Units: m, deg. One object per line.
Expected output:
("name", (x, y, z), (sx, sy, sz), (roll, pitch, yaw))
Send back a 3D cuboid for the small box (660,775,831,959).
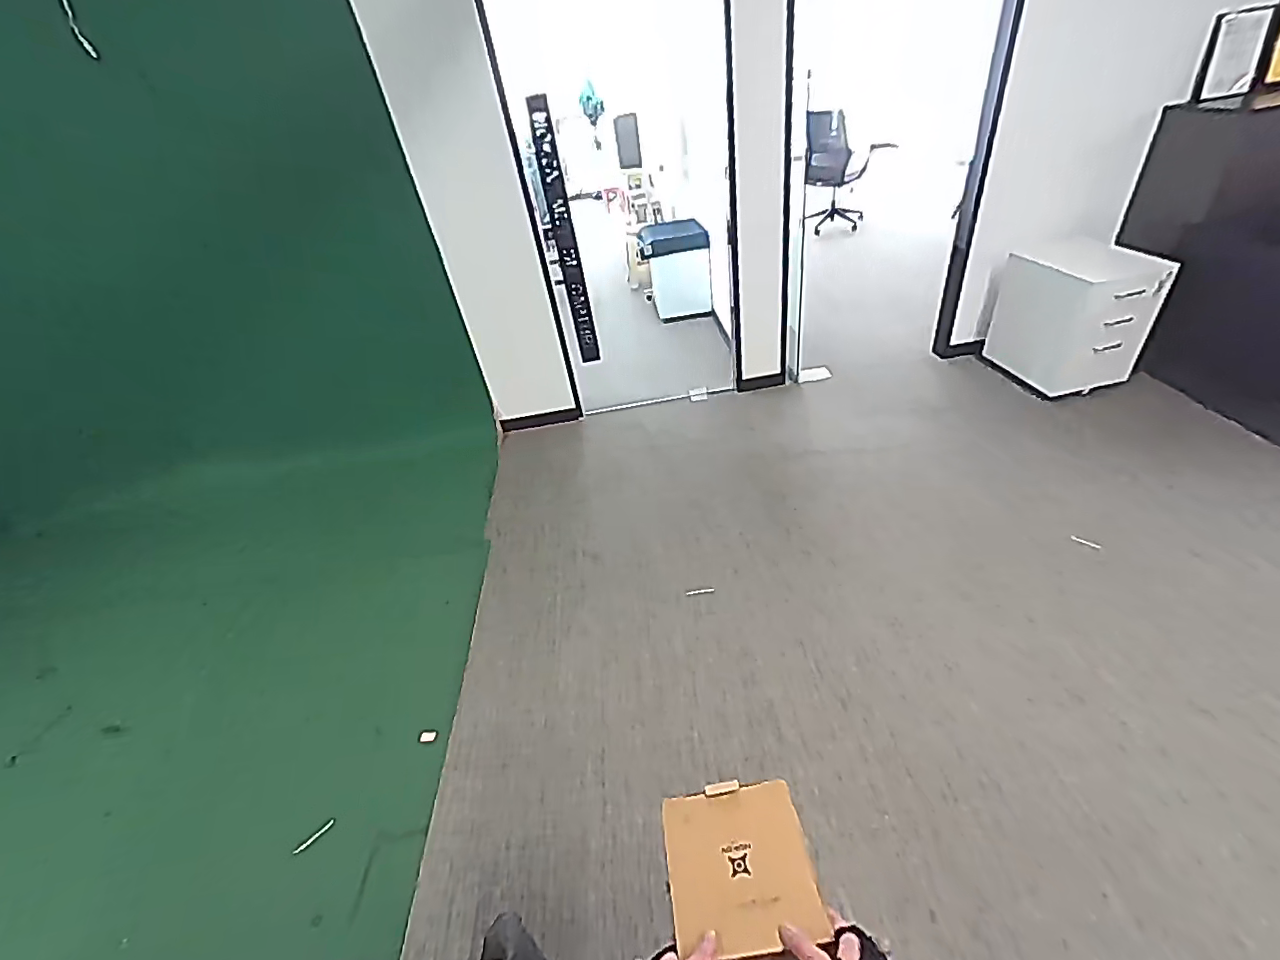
("small box", (0.120, 0.498, 0.654), (0.168, 0.176, 0.179), (-10, 29, 3))
